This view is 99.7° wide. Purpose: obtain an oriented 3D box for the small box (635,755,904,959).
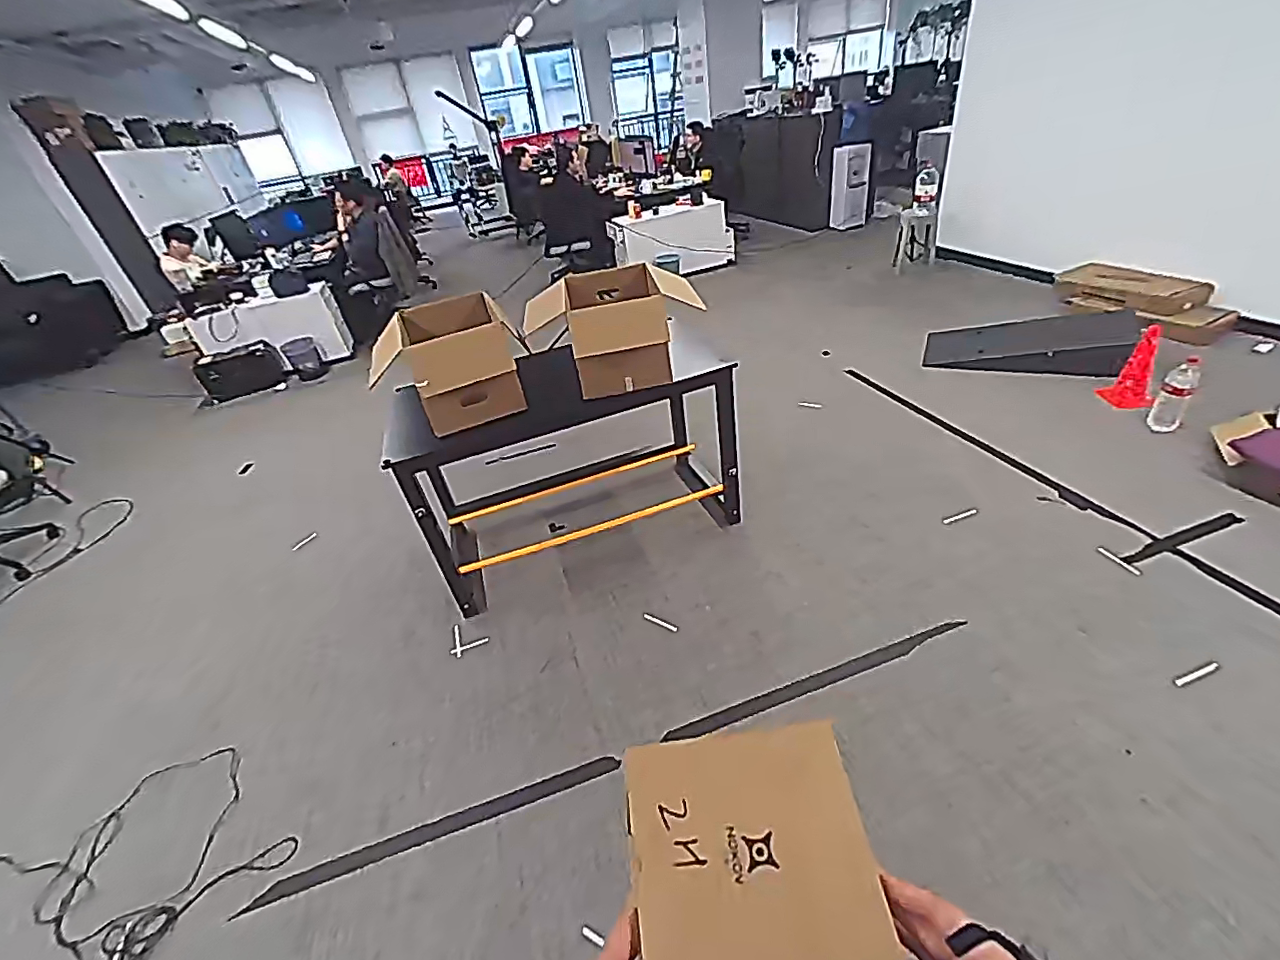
[{"bbox_3d":[0.096,0.350,0.456,0.179,0.176,0.168,-9,49,1],"label":"small box"}]
